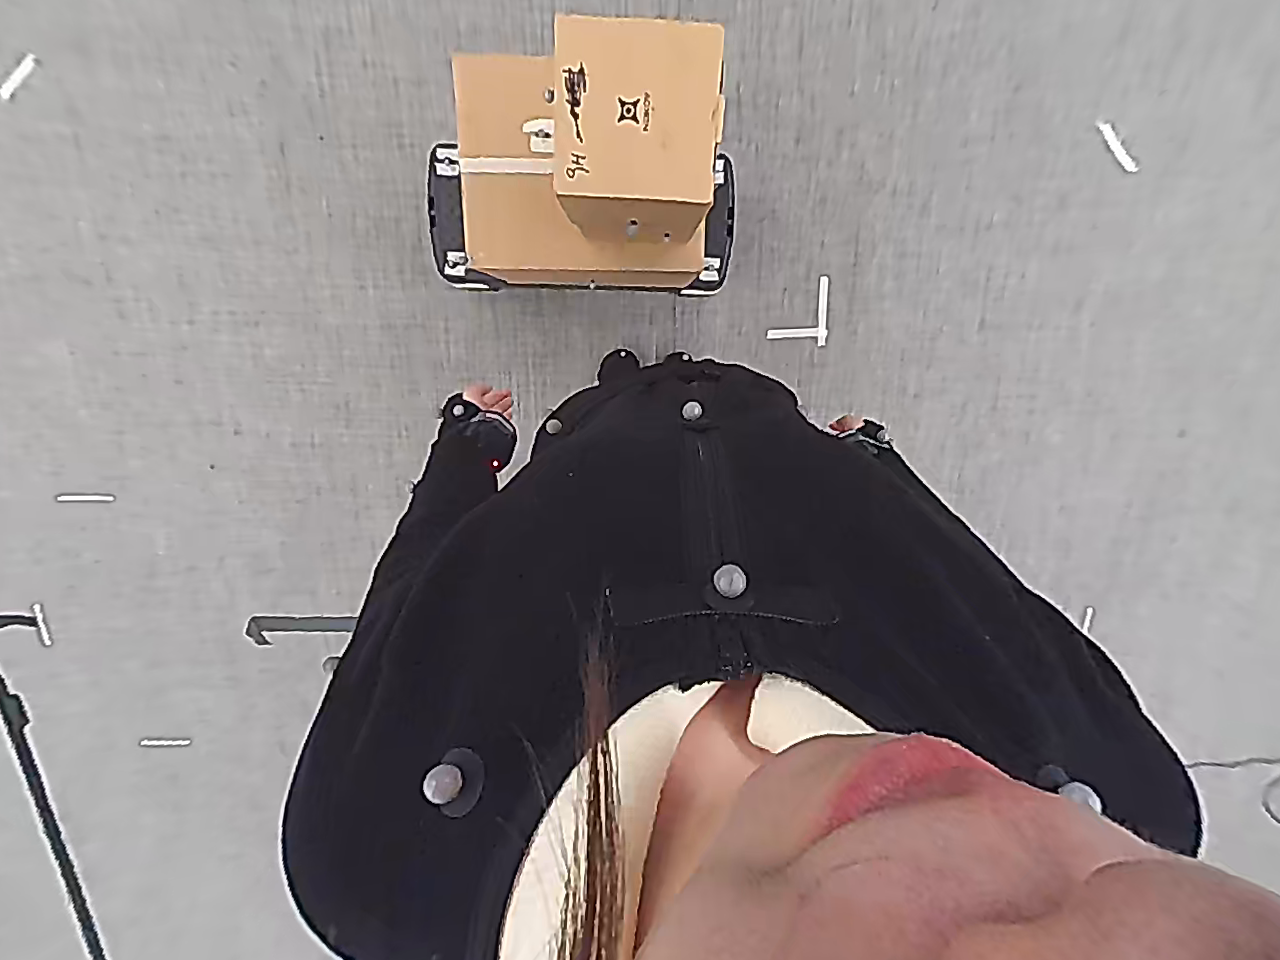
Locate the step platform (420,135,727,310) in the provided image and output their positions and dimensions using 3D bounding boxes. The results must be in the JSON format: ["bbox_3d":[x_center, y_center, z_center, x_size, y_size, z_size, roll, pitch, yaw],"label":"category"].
[{"bbox_3d":[-0.145,-0.580,1.251,0.684,0.204,0.286,6,105,-2],"label":"step platform"}]

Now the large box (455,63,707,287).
[{"bbox_3d":[-0.087,-0.536,1.018,0.408,0.320,0.320,1,104,0],"label":"large box"}]

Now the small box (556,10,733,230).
[{"bbox_3d":[0.000,-0.399,0.633,0.179,0.176,0.168,3,104,-2],"label":"small box"}]

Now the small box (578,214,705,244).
[{"bbox_3d":[0.001,-0.447,0.789,0.179,0.176,0.168,1,105,0],"label":"small box"}]
